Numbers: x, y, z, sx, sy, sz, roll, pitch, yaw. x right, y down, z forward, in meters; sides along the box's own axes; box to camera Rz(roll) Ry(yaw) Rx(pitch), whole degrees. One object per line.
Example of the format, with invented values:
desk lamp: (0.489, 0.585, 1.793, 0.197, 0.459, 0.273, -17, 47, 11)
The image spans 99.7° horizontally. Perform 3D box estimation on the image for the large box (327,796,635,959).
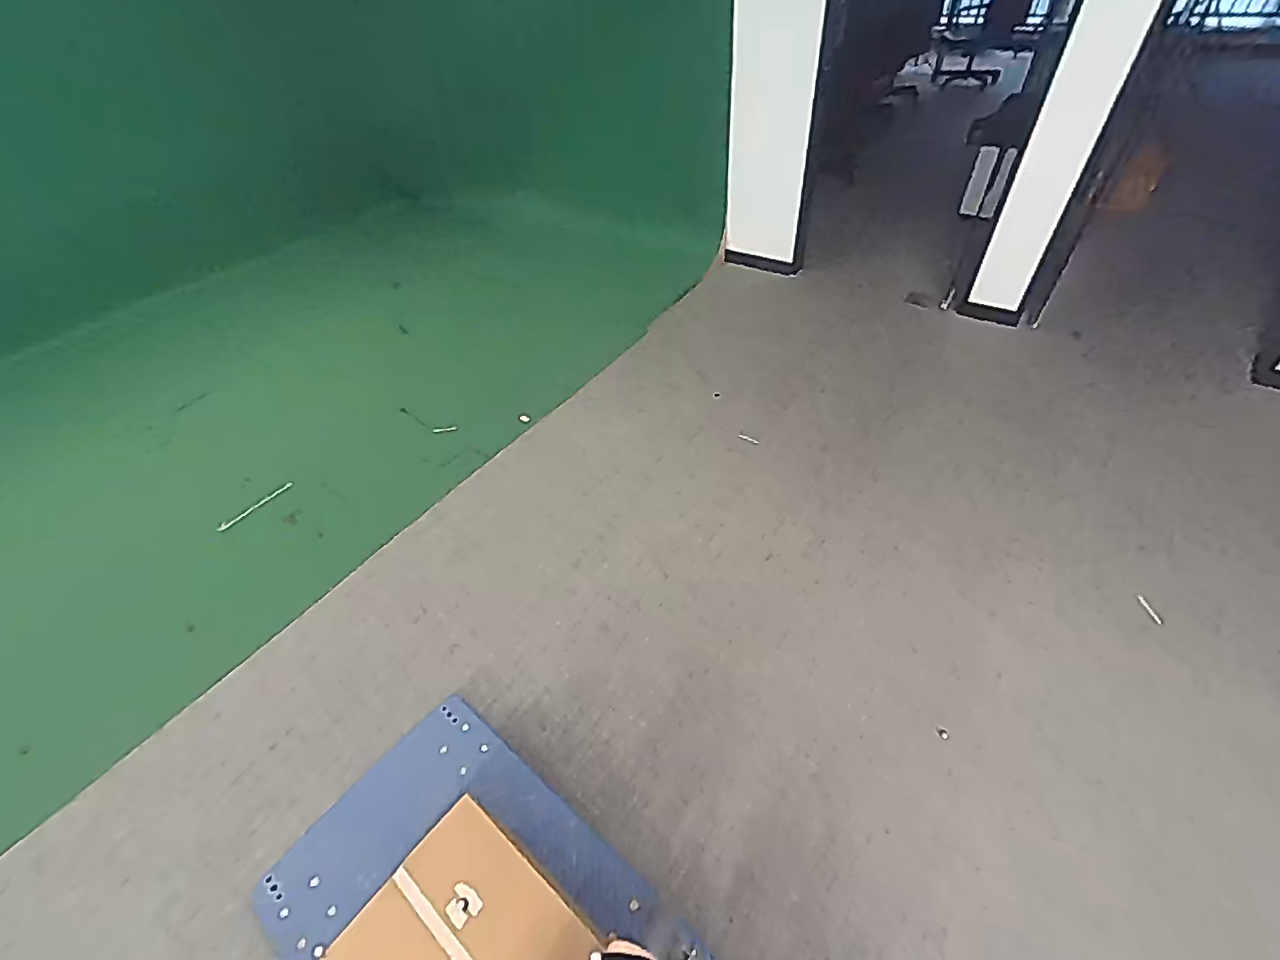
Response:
large box: (-0.257, 0.879, 0.981, 0.408, 0.320, 0.320, 28, 55, 30)
